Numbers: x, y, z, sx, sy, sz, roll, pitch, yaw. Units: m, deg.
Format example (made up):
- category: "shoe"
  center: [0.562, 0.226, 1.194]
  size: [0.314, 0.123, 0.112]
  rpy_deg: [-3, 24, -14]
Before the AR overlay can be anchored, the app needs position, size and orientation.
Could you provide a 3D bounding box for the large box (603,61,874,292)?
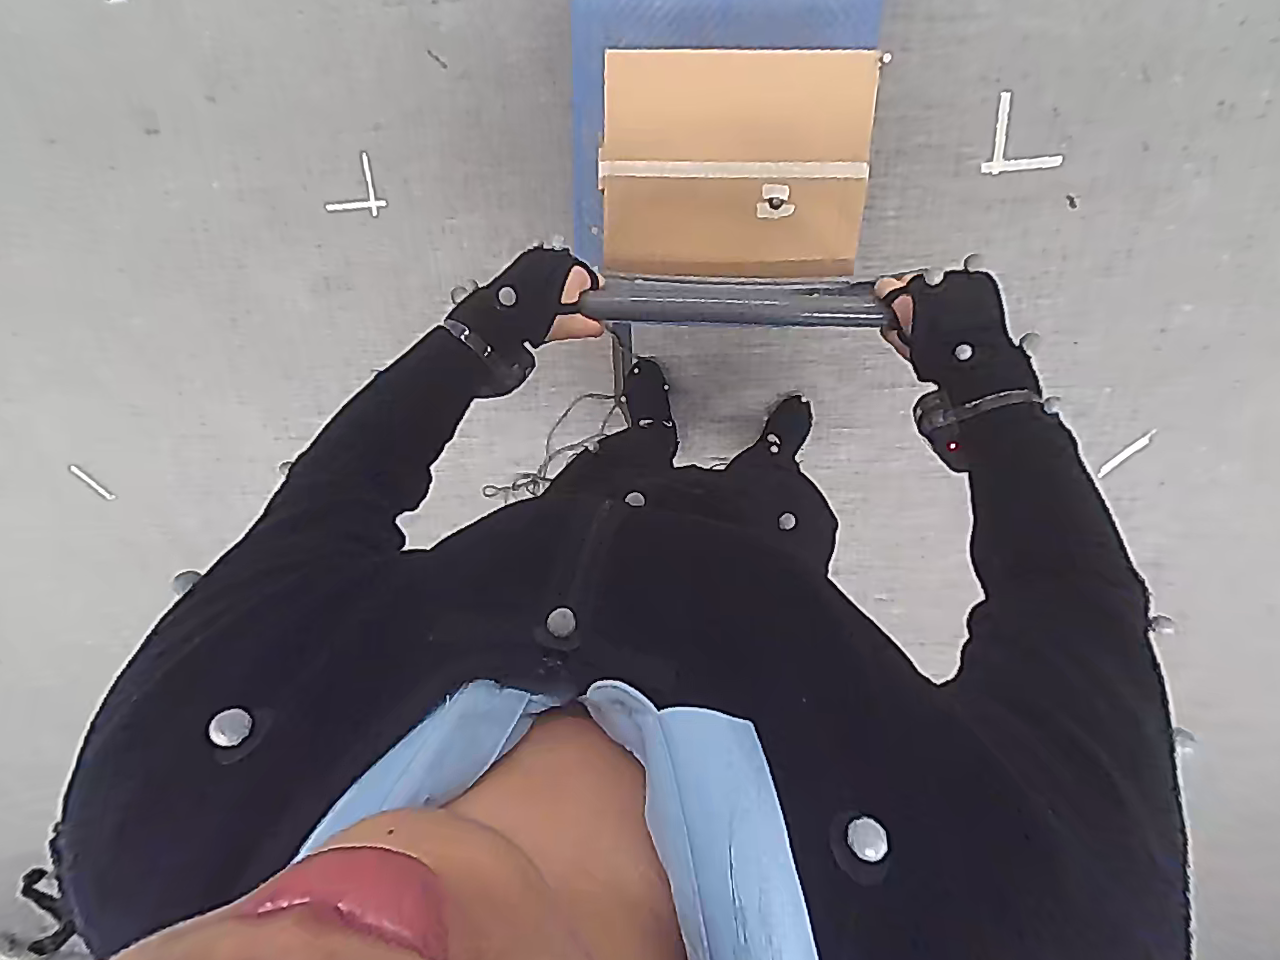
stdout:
- category: "large box"
  center: [0.146, -0.509, 0.978]
  size: [0.408, 0.320, 0.320]
  rpy_deg: [2, 108, 1]
